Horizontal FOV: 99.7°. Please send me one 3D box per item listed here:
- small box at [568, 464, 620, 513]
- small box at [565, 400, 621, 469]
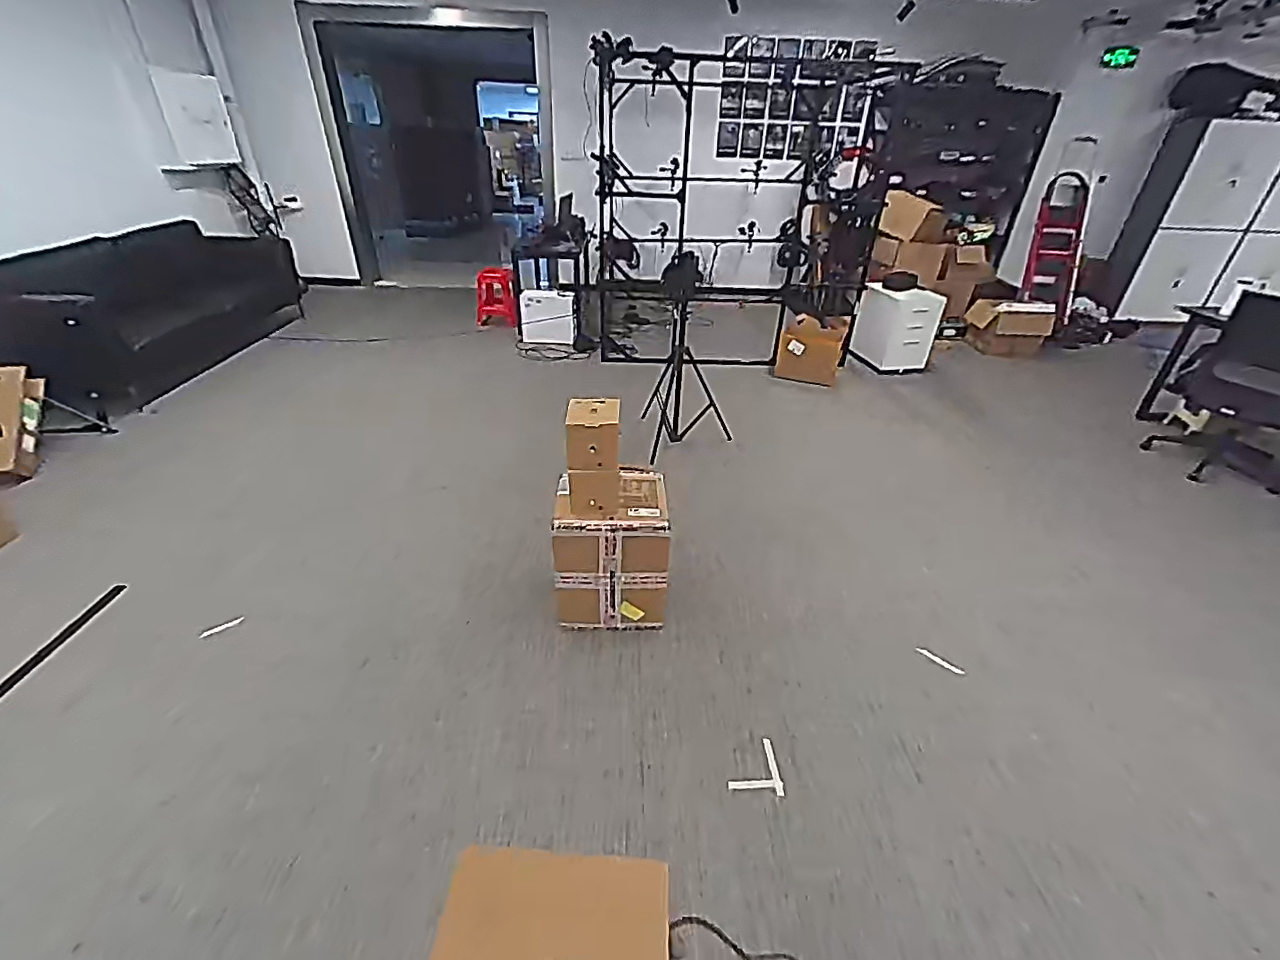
[{"bbox_3d":[-0.153,-0.004,1.837,0.168,0.176,0.179,-1,36,-3],"label":"small box"},{"bbox_3d":[-0.147,-0.147,1.754,0.168,0.176,0.179,0,36,-1],"label":"small box"}]
